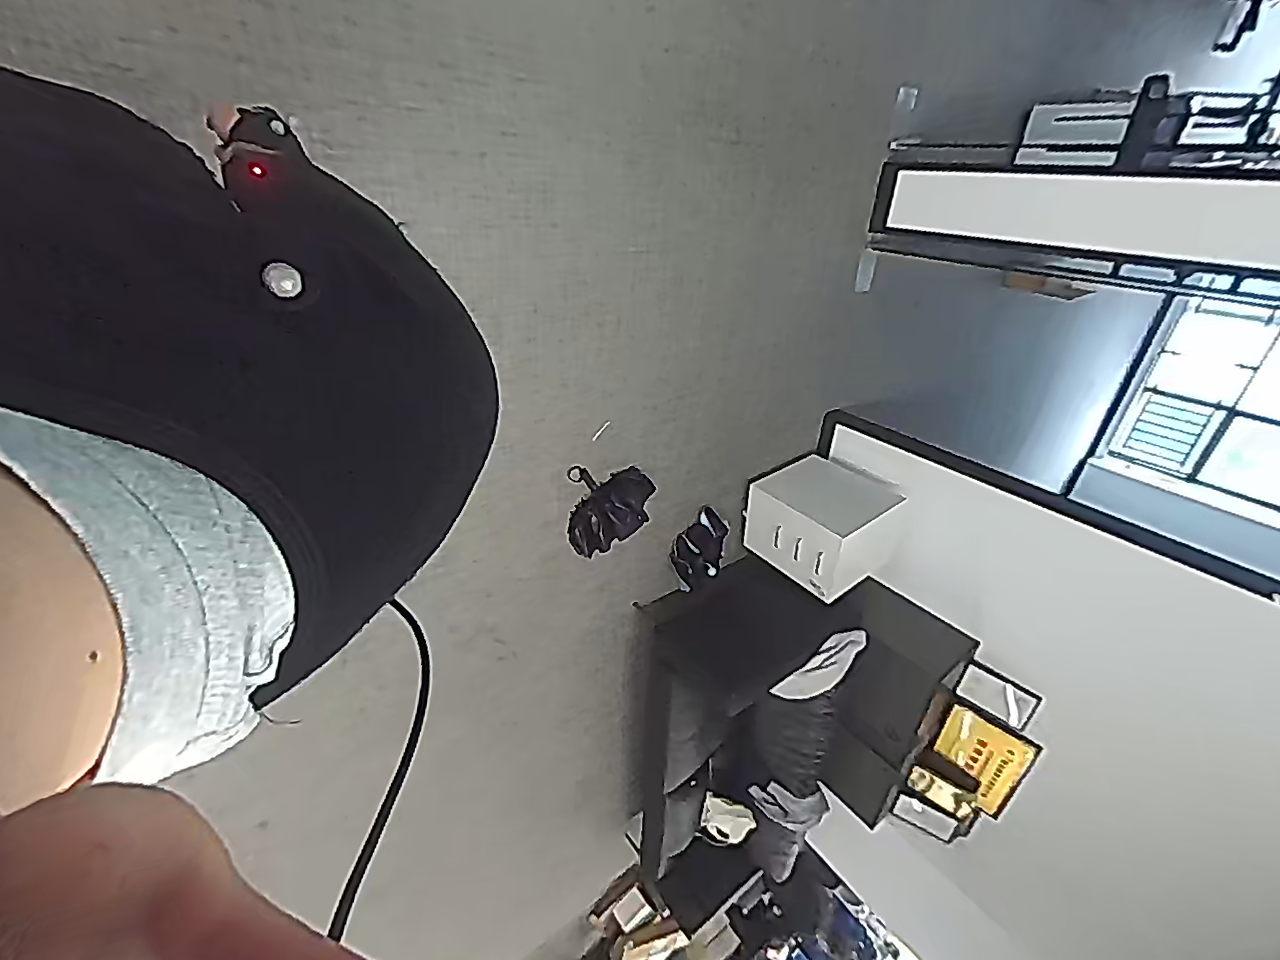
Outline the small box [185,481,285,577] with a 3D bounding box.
[{"bbox_3d":[-1.015,0.113,1.356,0.179,0.176,0.168,-9,120,-37],"label":"small box"}]
